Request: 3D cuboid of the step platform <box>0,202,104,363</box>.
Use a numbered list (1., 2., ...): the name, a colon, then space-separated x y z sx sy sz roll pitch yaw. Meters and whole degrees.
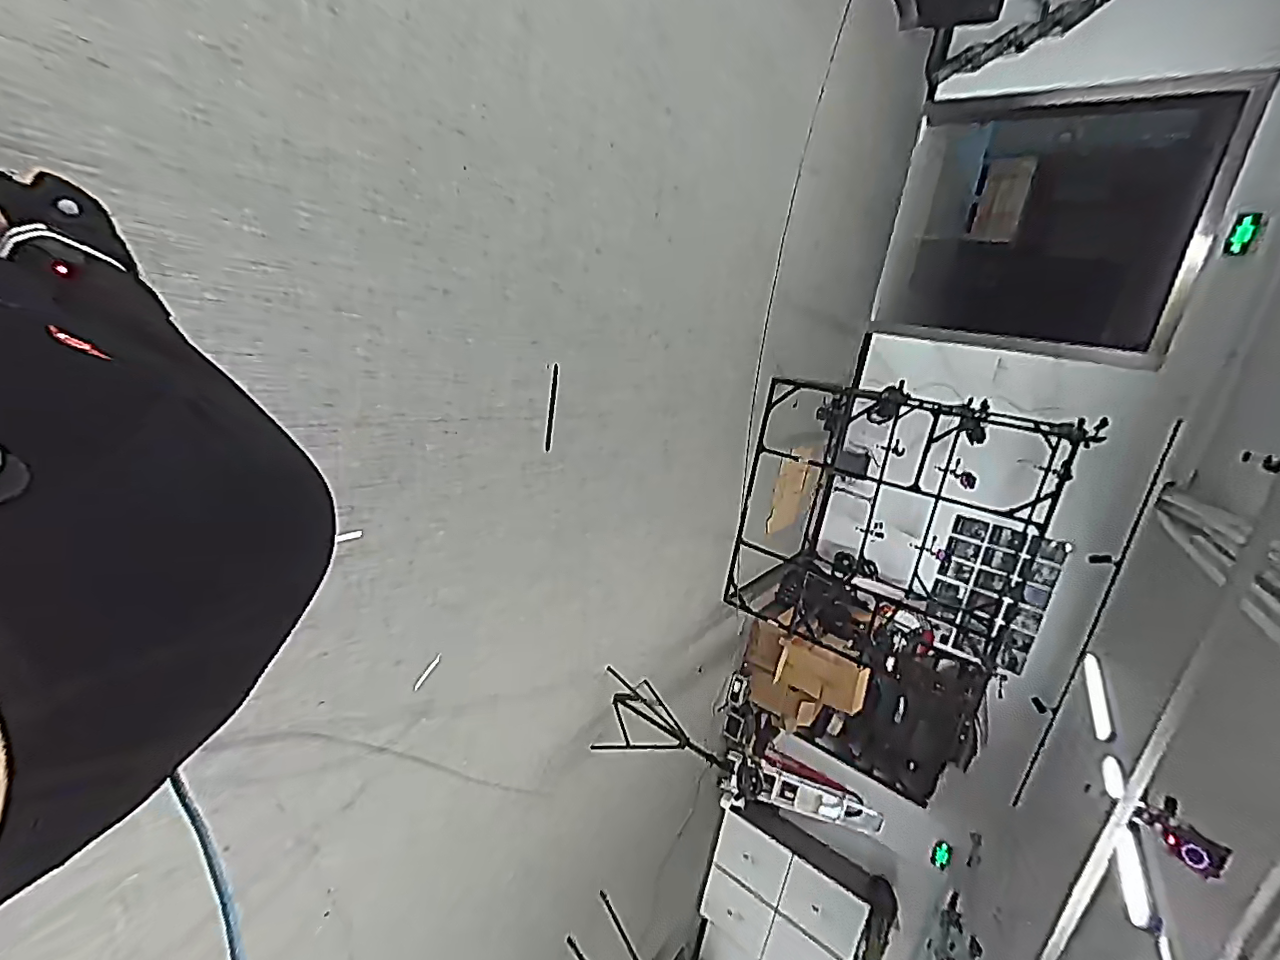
1. step platform: -1.323 -0.344 0.848 0.684 0.204 0.286 -15 118 -54
